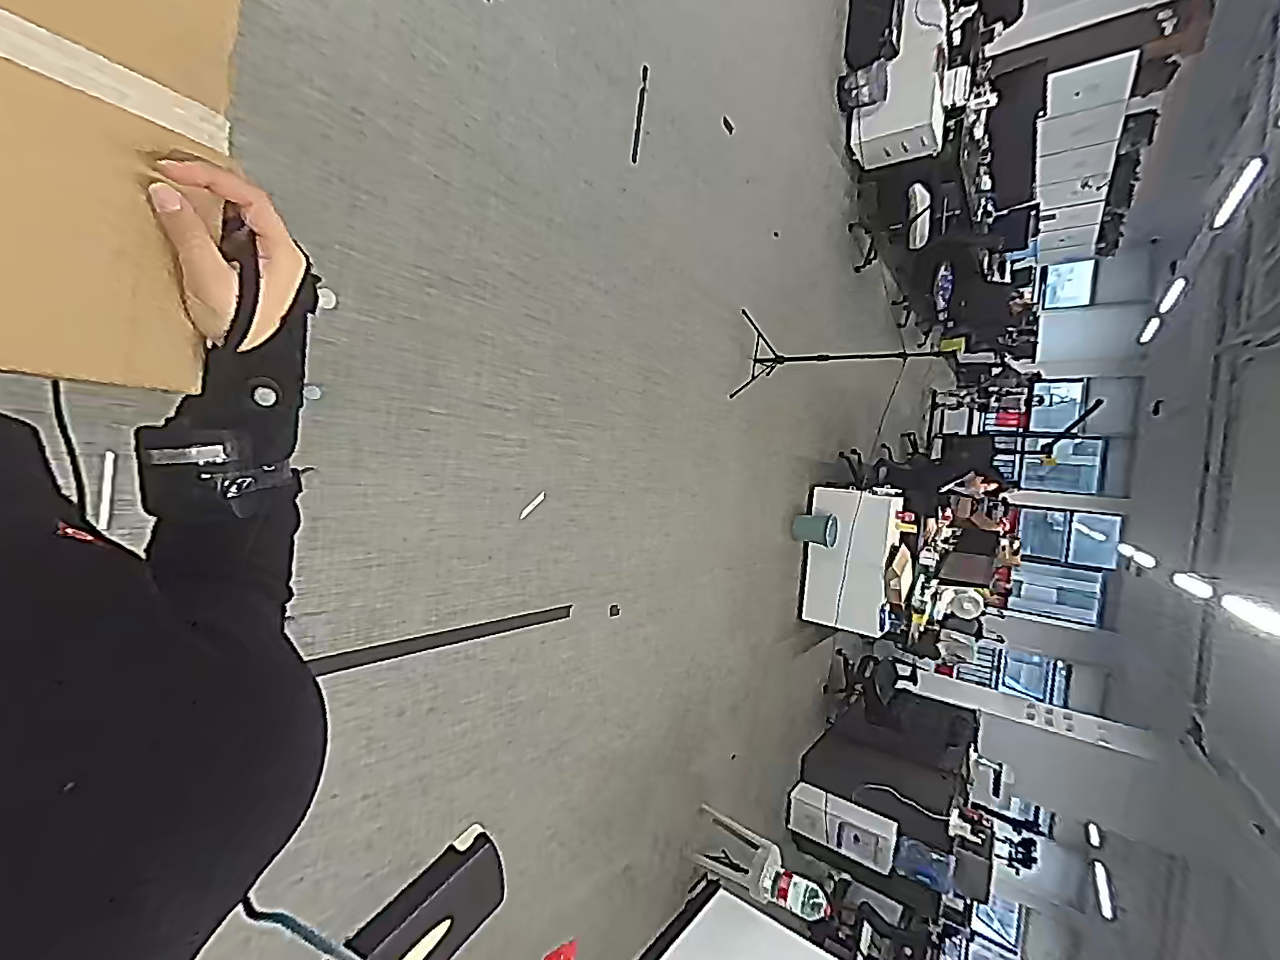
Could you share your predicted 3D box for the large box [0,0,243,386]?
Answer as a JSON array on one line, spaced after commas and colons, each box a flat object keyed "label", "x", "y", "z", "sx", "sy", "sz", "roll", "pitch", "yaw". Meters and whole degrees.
[{"label": "large box", "x": -0.493, "y": -0.237, "z": 0.263, "sx": 0.408, "sy": 0.320, "sz": 0.320, "roll": 3, "pitch": 98, "yaw": -55}]
